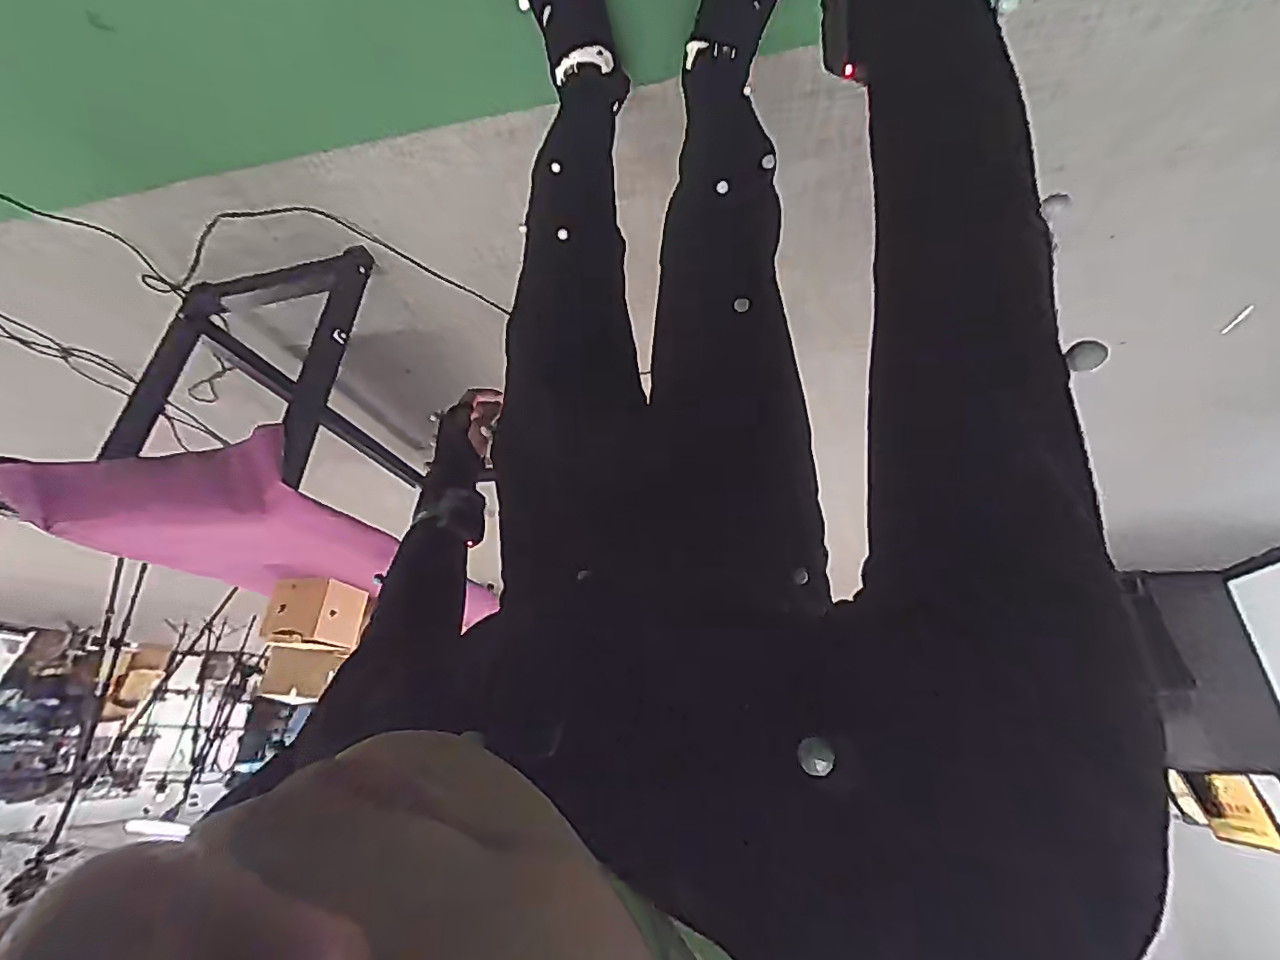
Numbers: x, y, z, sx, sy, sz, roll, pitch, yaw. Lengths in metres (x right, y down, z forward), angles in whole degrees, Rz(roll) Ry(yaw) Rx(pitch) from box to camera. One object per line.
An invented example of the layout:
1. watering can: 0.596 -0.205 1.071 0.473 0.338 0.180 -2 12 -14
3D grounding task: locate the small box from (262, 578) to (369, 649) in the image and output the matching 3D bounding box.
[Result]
1. small box: -0.891 0.372 1.502 0.168 0.176 0.179 -2 155 9
